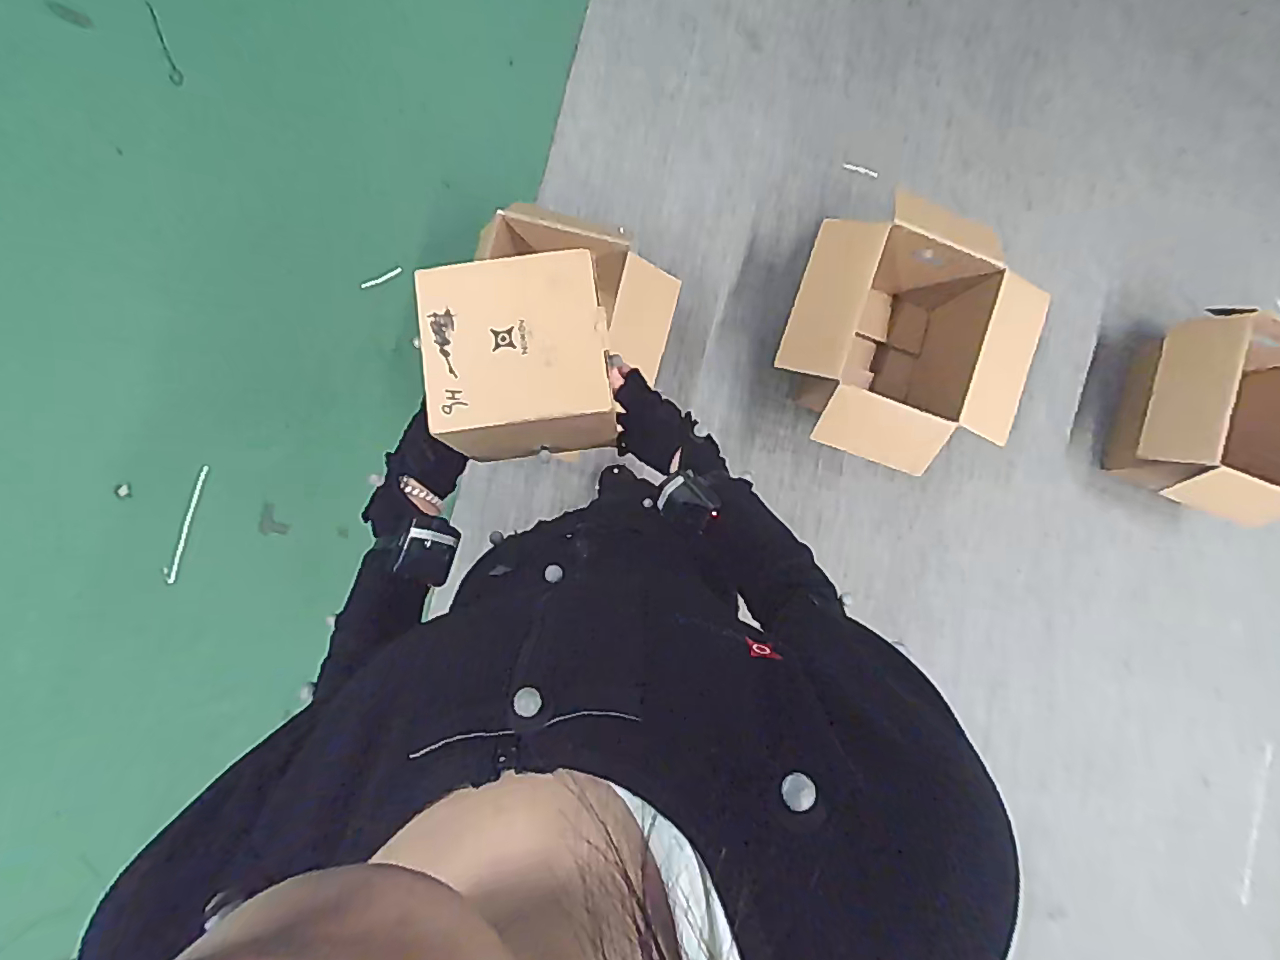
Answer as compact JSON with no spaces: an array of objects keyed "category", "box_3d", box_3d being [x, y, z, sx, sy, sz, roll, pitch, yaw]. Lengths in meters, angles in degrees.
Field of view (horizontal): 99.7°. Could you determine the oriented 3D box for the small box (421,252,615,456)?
[{"category":"small box","box_3d":[-0.123,-0.128,0.600,0.179,0.176,0.168,-7,82,-3]}]
